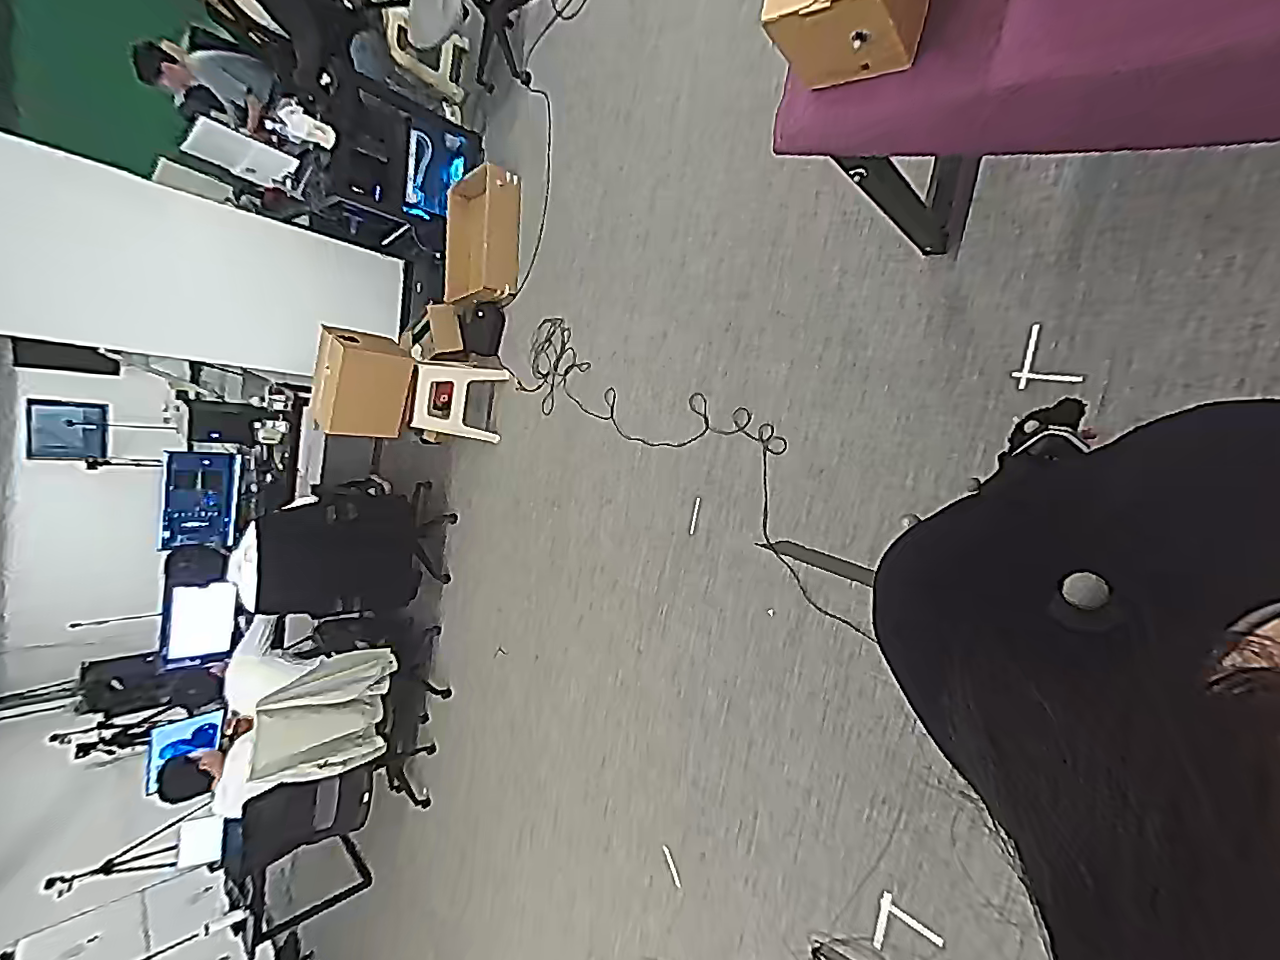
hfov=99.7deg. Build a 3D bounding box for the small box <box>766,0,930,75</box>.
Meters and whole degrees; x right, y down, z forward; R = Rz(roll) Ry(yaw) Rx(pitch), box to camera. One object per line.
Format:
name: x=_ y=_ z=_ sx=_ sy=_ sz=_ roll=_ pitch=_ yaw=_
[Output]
small box: x=0.302 y=-0.701 z=0.746 sx=0.168 sy=0.176 sz=0.179 roll=19 pitch=100 yaw=39
